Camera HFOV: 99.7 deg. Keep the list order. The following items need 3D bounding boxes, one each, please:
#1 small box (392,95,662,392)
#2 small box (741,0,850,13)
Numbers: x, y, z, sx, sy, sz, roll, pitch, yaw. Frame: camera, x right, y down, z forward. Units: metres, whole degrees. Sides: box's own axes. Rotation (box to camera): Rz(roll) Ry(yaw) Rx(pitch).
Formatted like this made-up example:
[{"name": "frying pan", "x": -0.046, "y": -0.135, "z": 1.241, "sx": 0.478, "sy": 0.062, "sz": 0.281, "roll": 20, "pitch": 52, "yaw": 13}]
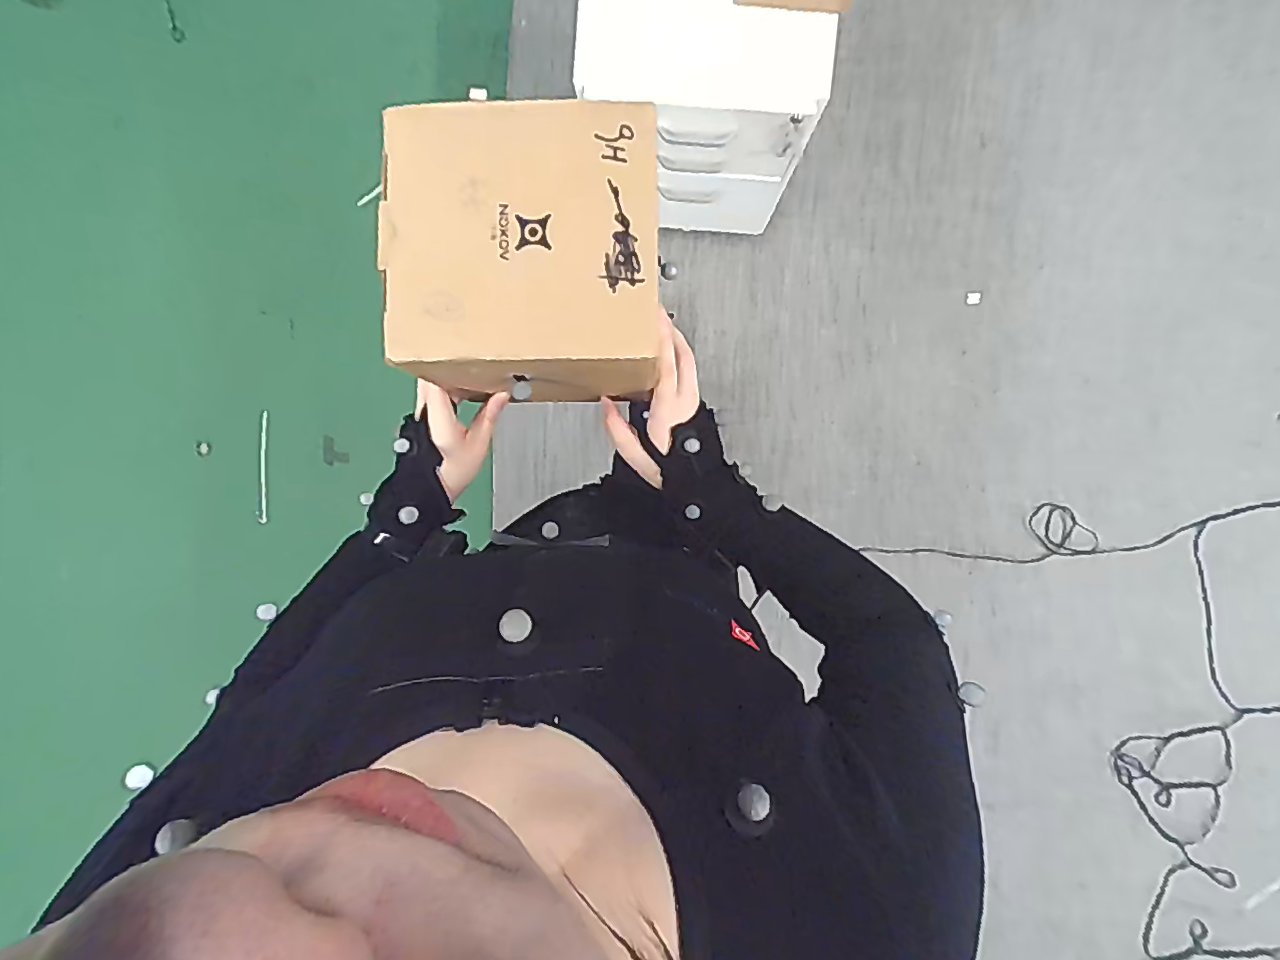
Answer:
[{"name": "small box", "x": -0.071, "y": -0.165, "z": 0.429, "sx": 0.179, "sy": 0.176, "sz": 0.168, "roll": 0, "pitch": 89, "yaw": 1}, {"name": "small box", "x": 0.231, "y": -0.782, "z": 0.729, "sx": 0.179, "sy": 0.176, "sz": 0.168, "roll": 8, "pitch": 95, "yaw": 2}]
